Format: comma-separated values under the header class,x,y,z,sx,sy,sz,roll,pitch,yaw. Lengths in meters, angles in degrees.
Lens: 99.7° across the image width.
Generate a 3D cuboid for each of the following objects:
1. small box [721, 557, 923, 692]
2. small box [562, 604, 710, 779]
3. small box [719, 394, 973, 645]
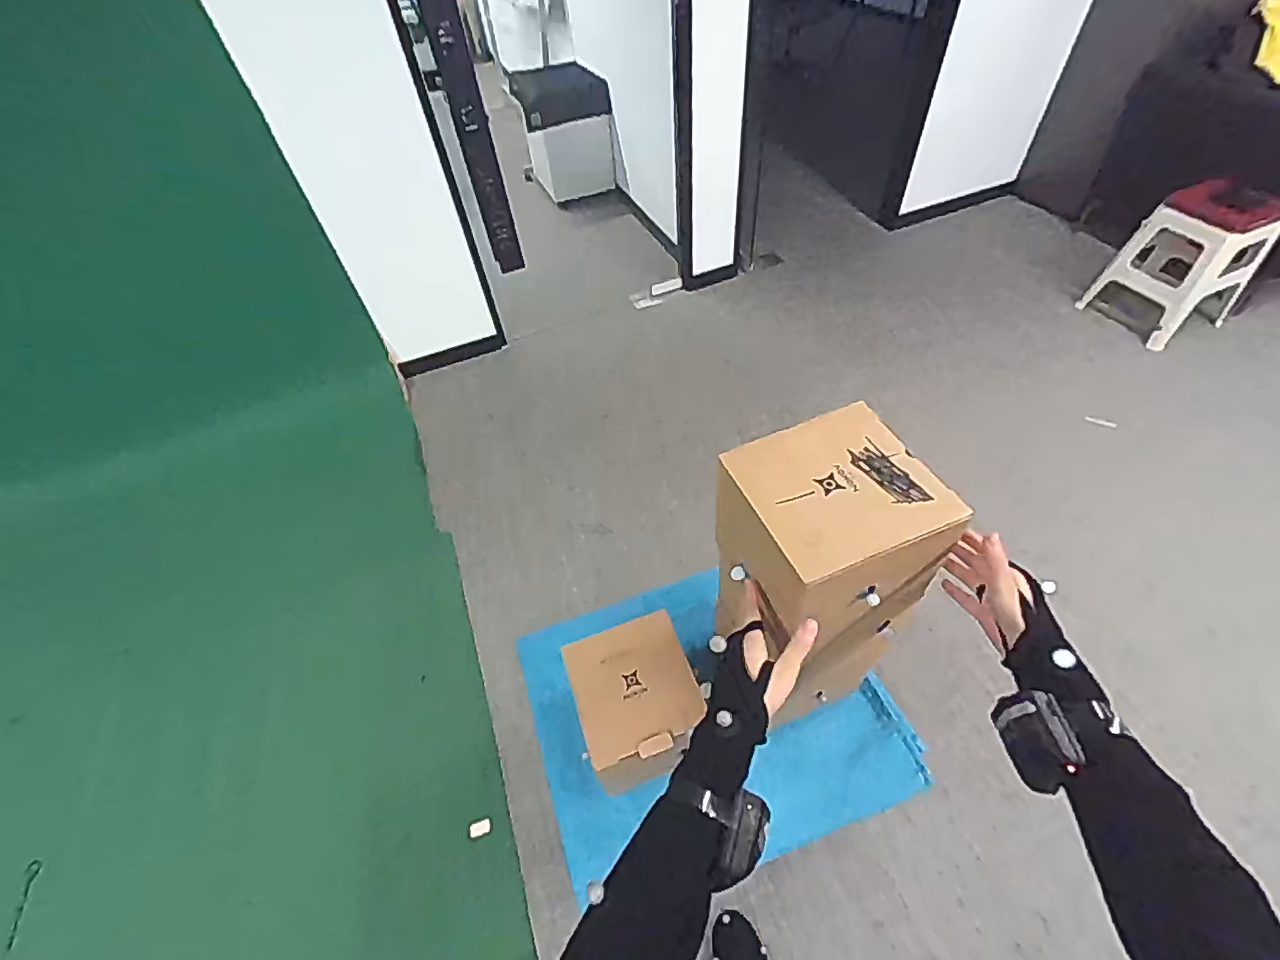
class,x,y,z,sx,sy,sz,roll,pitch,yaw
small box,0.217,0.144,0.700,0.179,0.176,0.168,-21,51,-10
small box,-0.005,0.317,0.795,0.168,0.176,0.179,-17,51,-10
small box,0.193,0.044,0.571,0.179,0.176,0.168,-20,51,-8
